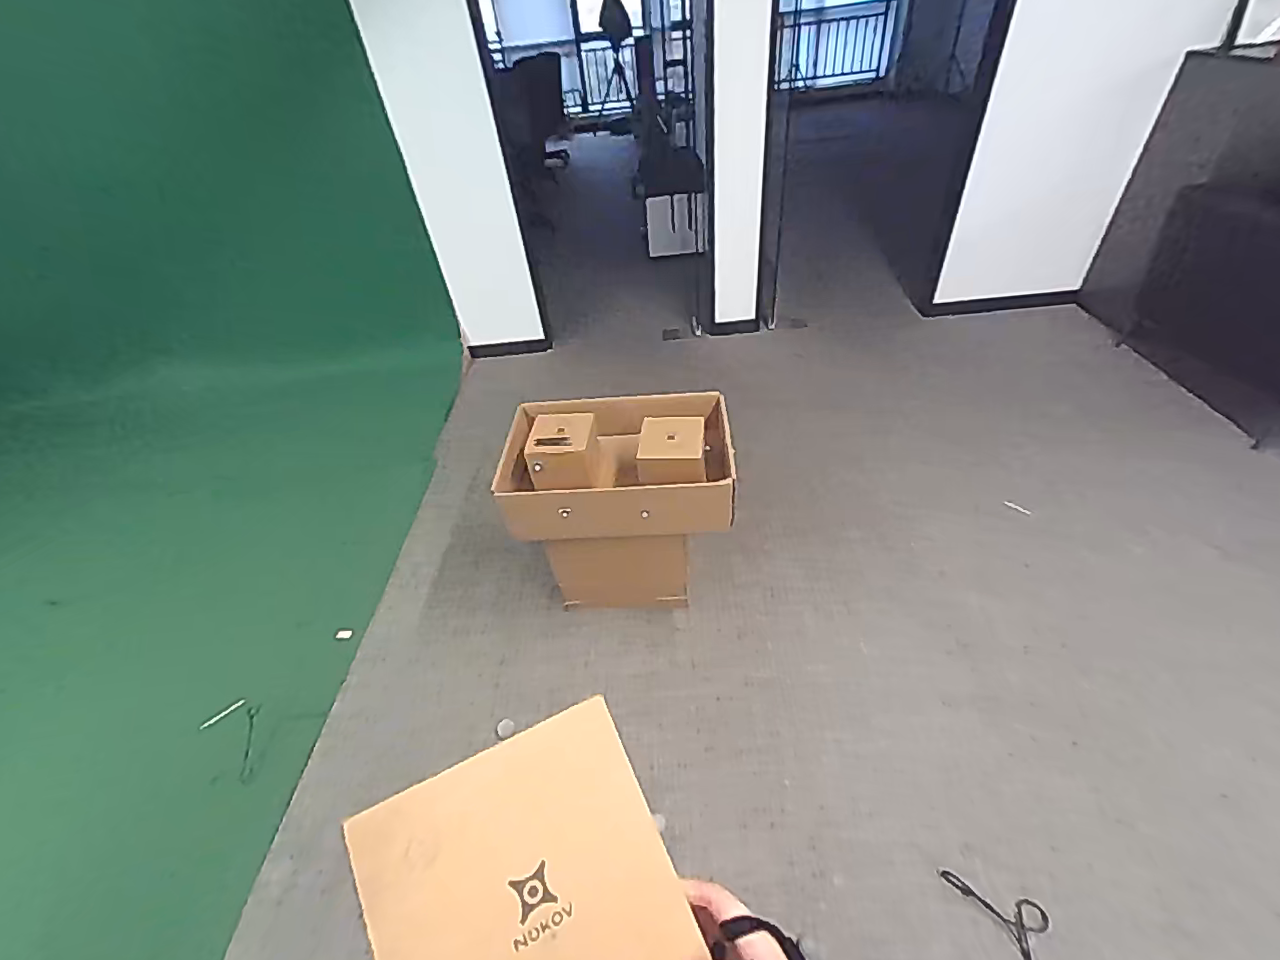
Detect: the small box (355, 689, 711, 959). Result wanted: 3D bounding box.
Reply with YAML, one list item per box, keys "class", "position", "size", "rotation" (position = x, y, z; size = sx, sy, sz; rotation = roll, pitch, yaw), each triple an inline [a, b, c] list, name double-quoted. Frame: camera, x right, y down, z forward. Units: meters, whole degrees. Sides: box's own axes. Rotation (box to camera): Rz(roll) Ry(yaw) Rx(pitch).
- class: "small box"
  position: [-0.084, 0.275, 0.382]
  size: [0.168, 0.176, 0.179]
  rotation: [-17, 69, -26]
